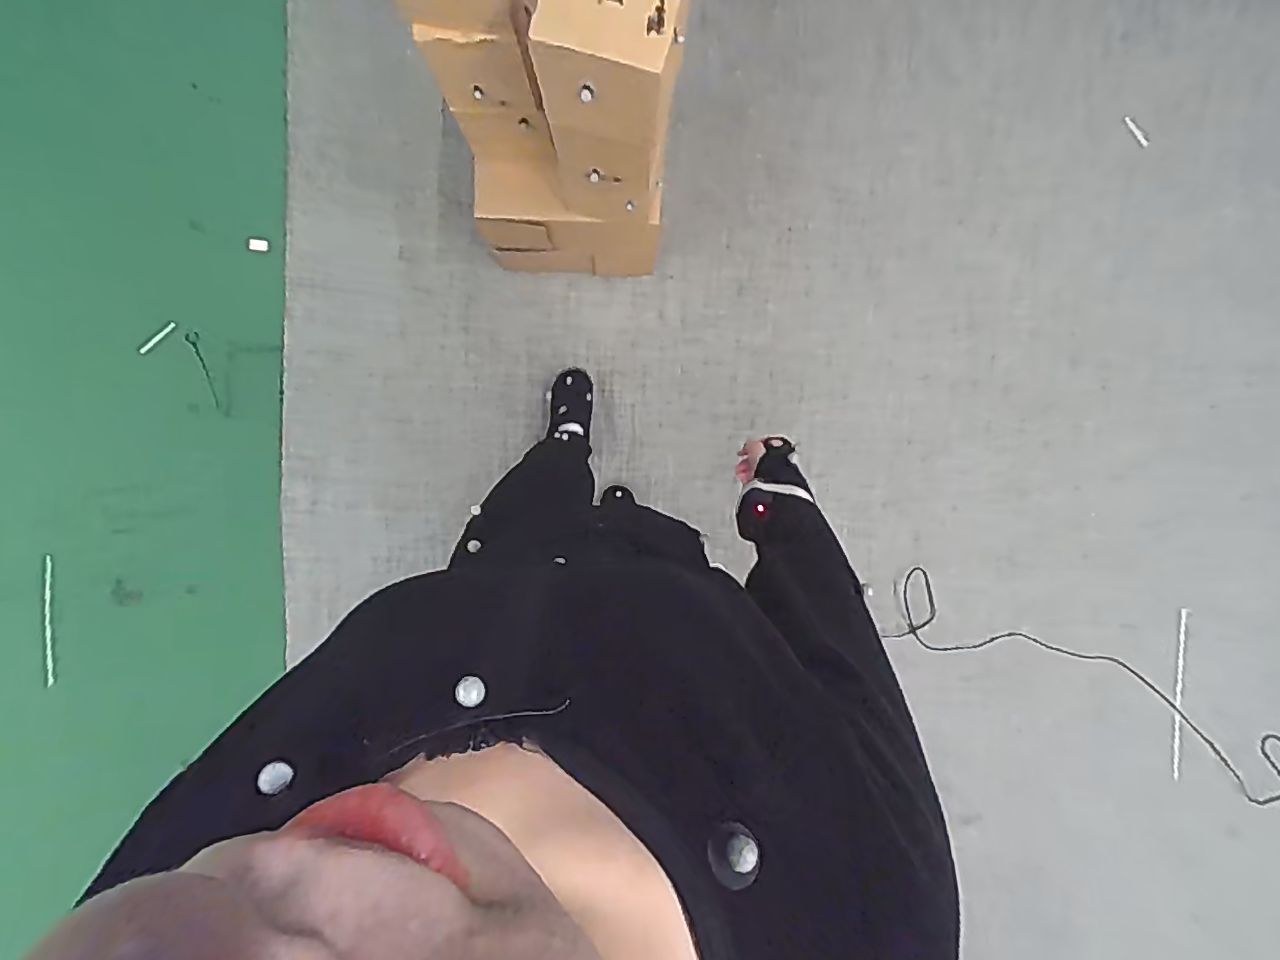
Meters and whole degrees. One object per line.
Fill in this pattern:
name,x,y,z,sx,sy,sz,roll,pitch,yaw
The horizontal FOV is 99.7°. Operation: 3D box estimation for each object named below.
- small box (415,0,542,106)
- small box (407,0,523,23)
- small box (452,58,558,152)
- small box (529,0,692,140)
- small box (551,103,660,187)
small box,-0.259,-0.772,0.903,0.168,0.176,0.179,3,92,0
small box,-0.258,-0.777,0.738,0.179,0.176,0.168,8,92,-1
small box,-0.256,-0.777,1.067,0.179,0.176,0.168,1,91,0
small box,-0.033,-0.609,0.744,0.179,0.176,0.168,15,92,0
small box,-0.045,-0.633,0.908,0.168,0.176,0.179,10,92,-1
